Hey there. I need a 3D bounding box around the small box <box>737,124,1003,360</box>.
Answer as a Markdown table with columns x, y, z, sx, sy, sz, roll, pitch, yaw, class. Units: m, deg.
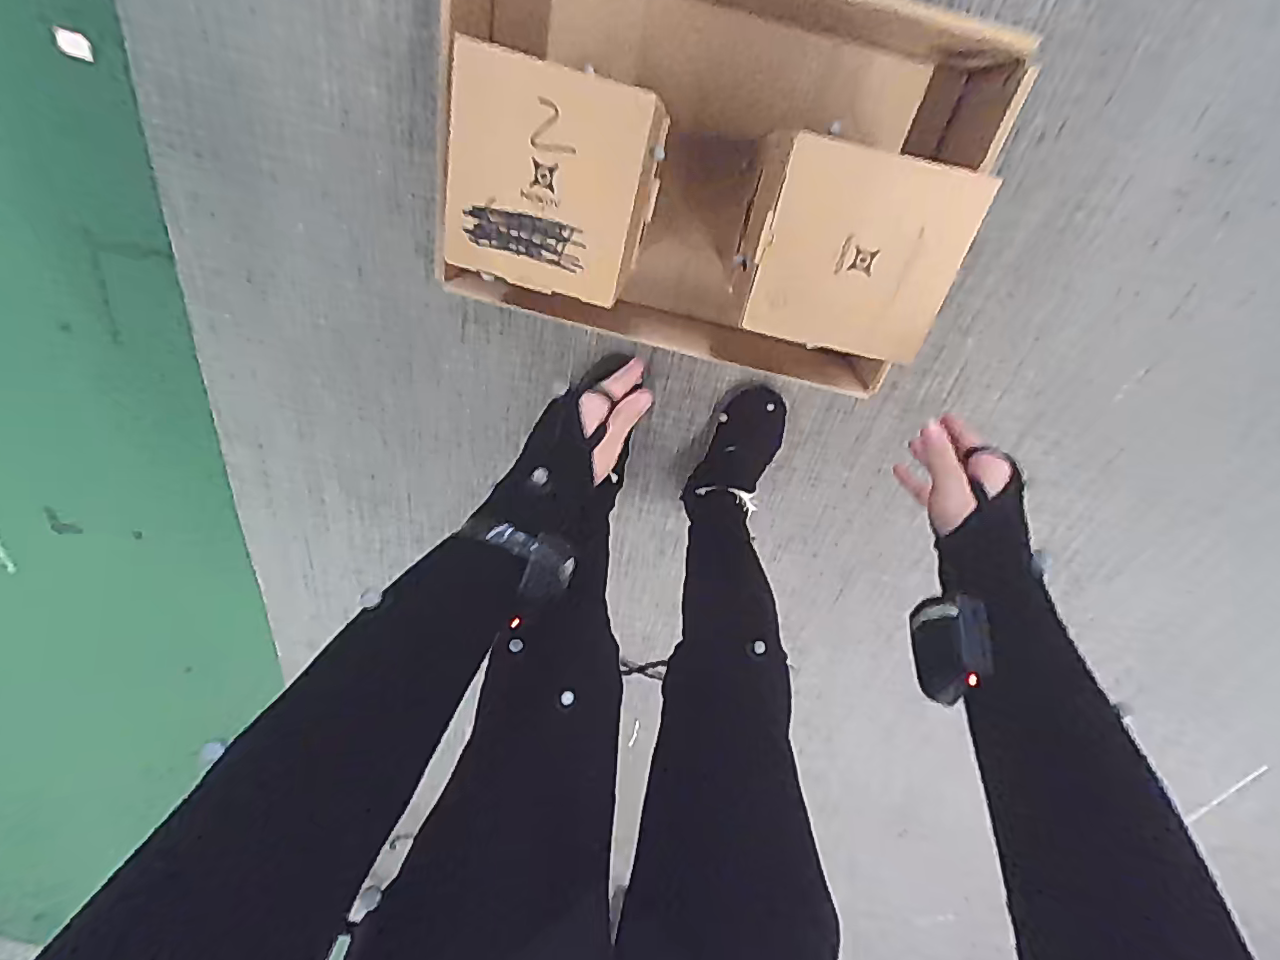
| x | y | z | sx | sy | sz | roll | pitch | yaw | class |
| --- | --- | --- | --- | --- | --- | --- | --- | --- | --- |
| 0.203 | -0.243 | 0.546 | 0.179 | 0.176 | 0.168 | 12 | 123 | -2 | small box |
